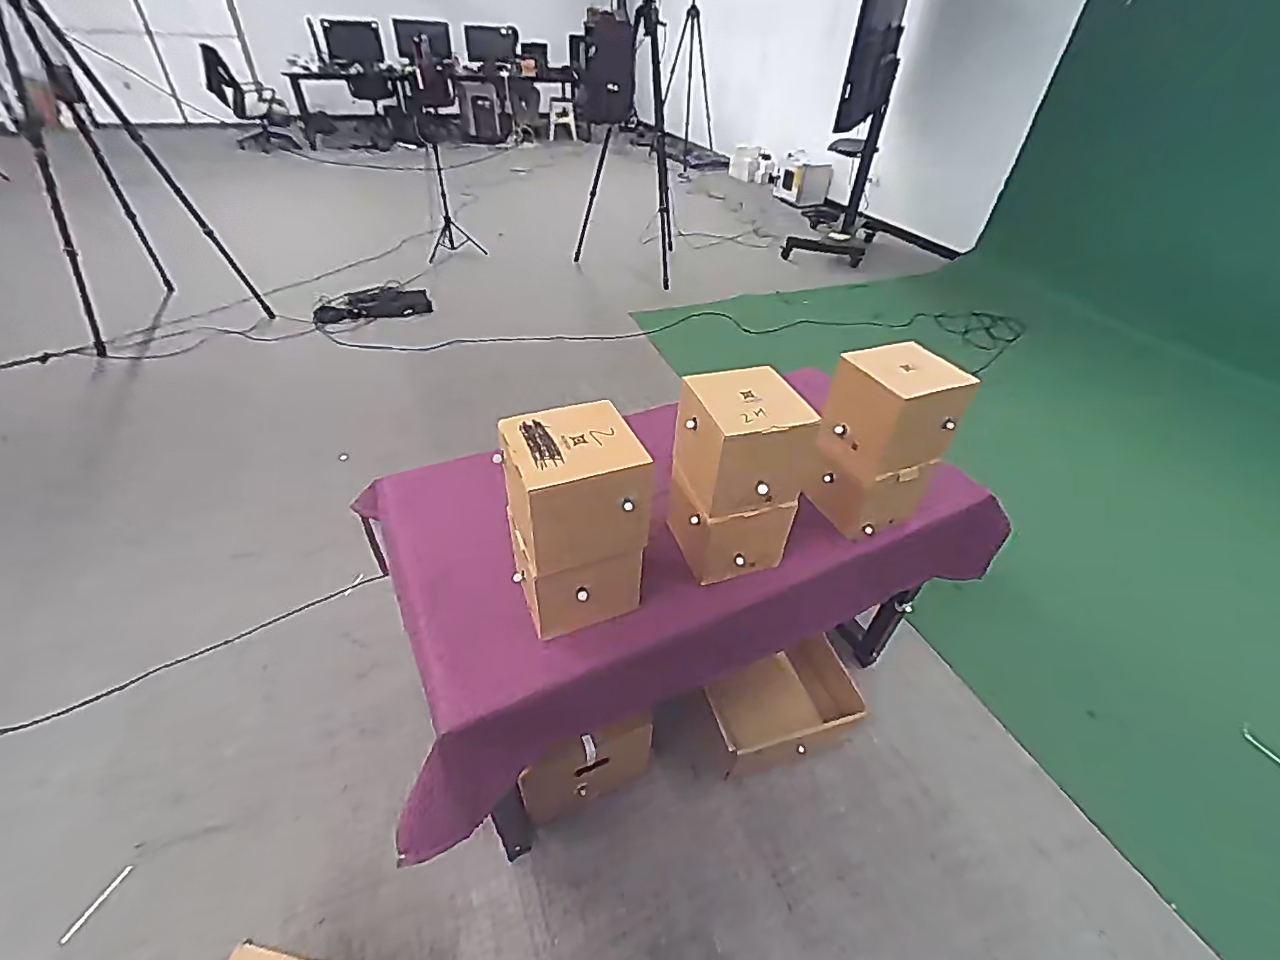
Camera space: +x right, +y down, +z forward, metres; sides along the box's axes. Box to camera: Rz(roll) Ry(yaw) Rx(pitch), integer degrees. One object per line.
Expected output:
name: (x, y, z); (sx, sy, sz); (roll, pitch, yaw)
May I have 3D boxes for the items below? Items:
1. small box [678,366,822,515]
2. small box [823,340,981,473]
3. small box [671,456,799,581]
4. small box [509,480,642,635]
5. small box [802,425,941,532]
small box: (0.170, -0.068, 0.906); (0.168, 0.176, 0.179); (-11, 44, -14)
small box: (0.472, -0.137, 1.001); (0.179, 0.176, 0.168); (-14, 43, -18)
small box: (0.164, 0.059, 1.010); (0.168, 0.176, 0.179); (-11, 44, -15)
small box: (-0.106, 0.131, 0.907); (0.179, 0.176, 0.168); (-15, 45, -18)
small box: (0.462, -0.013, 1.107); (0.168, 0.176, 0.179); (-15, 44, -19)
